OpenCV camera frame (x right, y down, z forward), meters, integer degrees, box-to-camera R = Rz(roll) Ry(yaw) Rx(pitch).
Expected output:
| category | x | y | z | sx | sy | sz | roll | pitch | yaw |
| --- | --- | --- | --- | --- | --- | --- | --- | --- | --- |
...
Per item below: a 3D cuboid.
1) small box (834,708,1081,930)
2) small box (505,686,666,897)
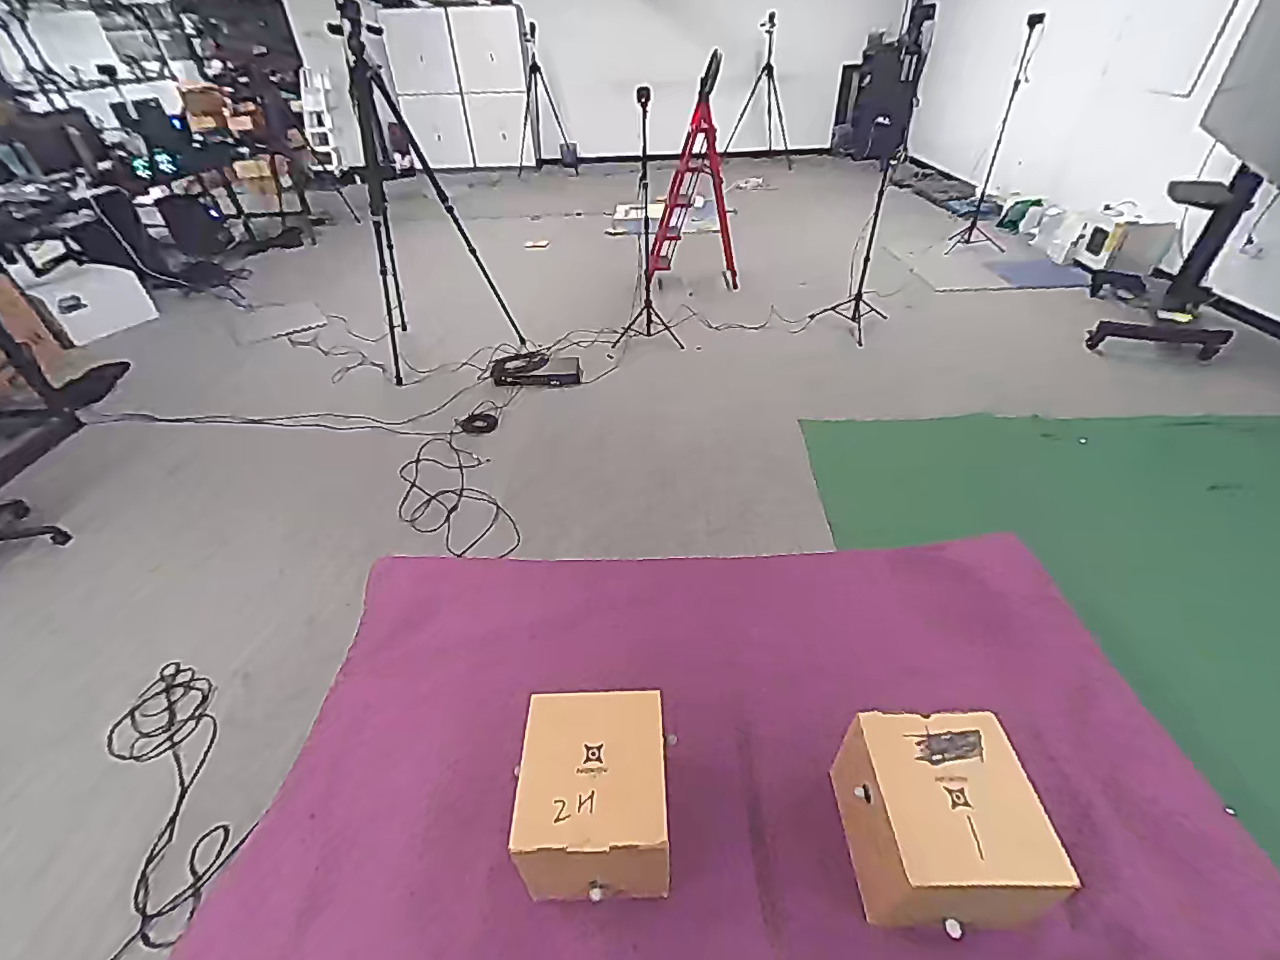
| category | x | y | z | sx | sy | sz | roll | pitch | yaw |
| --- | --- | --- | --- | --- | --- | --- | --- | --- | --- |
| small box | 0.339 | 0.389 | 0.628 | 0.168 | 0.176 | 0.179 | -1 | 40 | 2 |
| small box | -0.054 | 0.377 | 0.660 | 0.168 | 0.176 | 0.179 | -2 | 38 | 1 |
